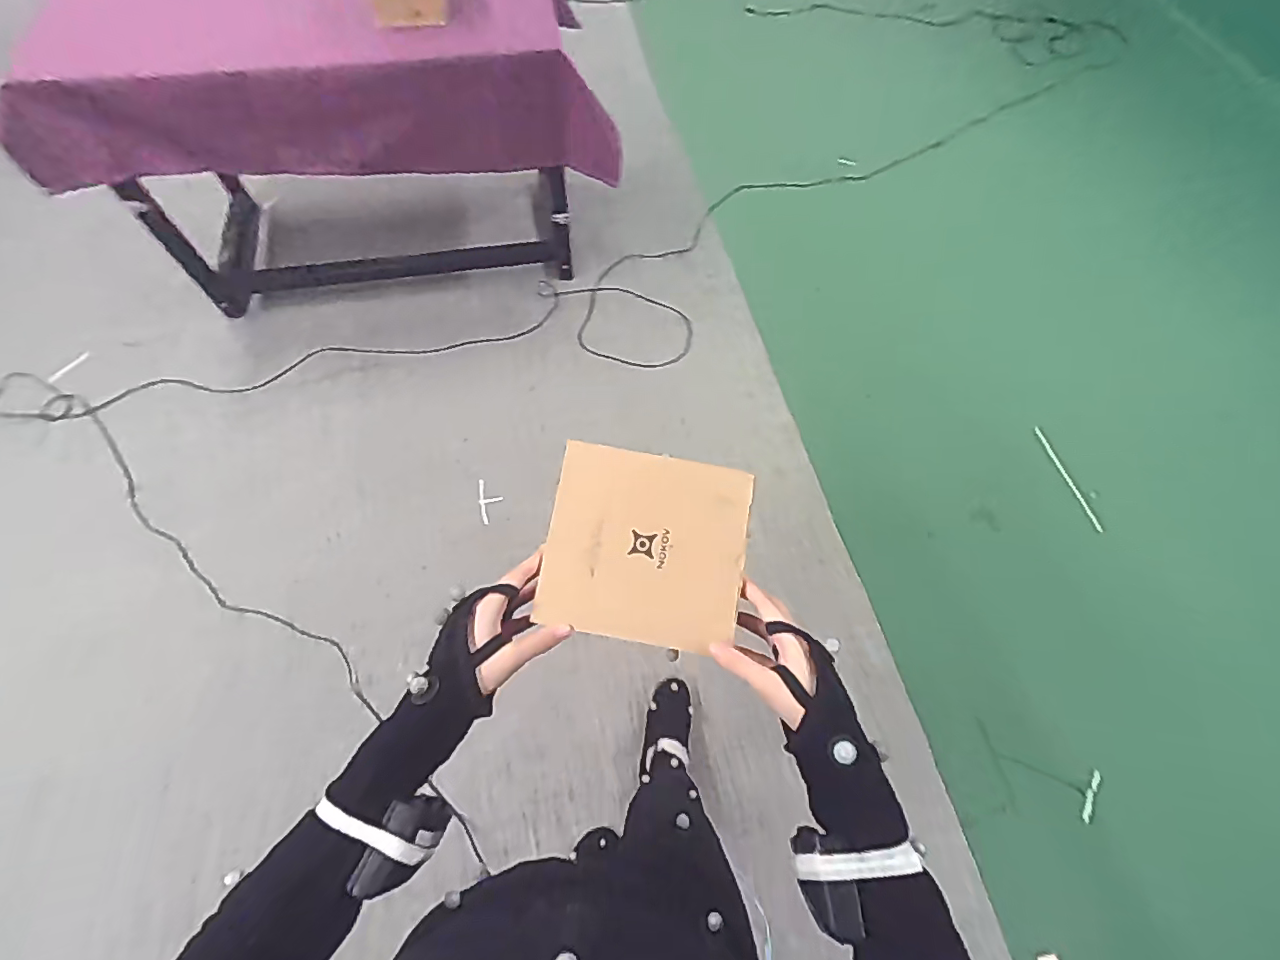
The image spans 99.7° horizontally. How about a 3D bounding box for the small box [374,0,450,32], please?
[{"bbox_3d":[-0.564,-1.220,1.308,0.168,0.176,0.179,-8,63,-7],"label":"small box"}]
